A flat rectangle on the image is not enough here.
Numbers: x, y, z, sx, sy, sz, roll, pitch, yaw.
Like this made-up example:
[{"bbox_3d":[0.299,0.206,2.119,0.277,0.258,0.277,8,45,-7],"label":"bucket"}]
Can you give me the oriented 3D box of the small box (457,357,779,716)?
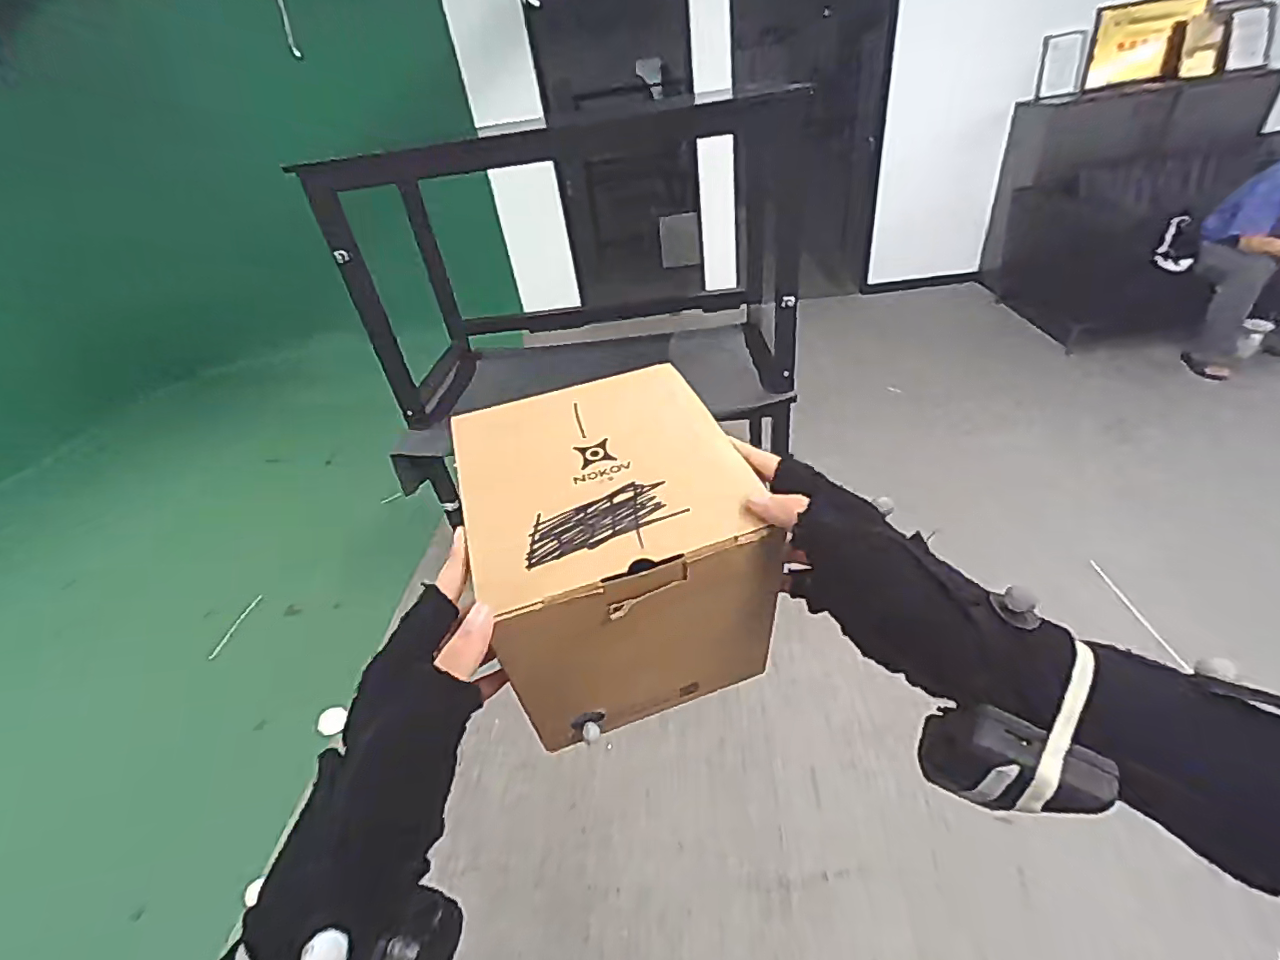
[{"bbox_3d":[-0.019,0.042,0.386,0.168,0.176,0.179,-16,43,-10],"label":"small box"}]
